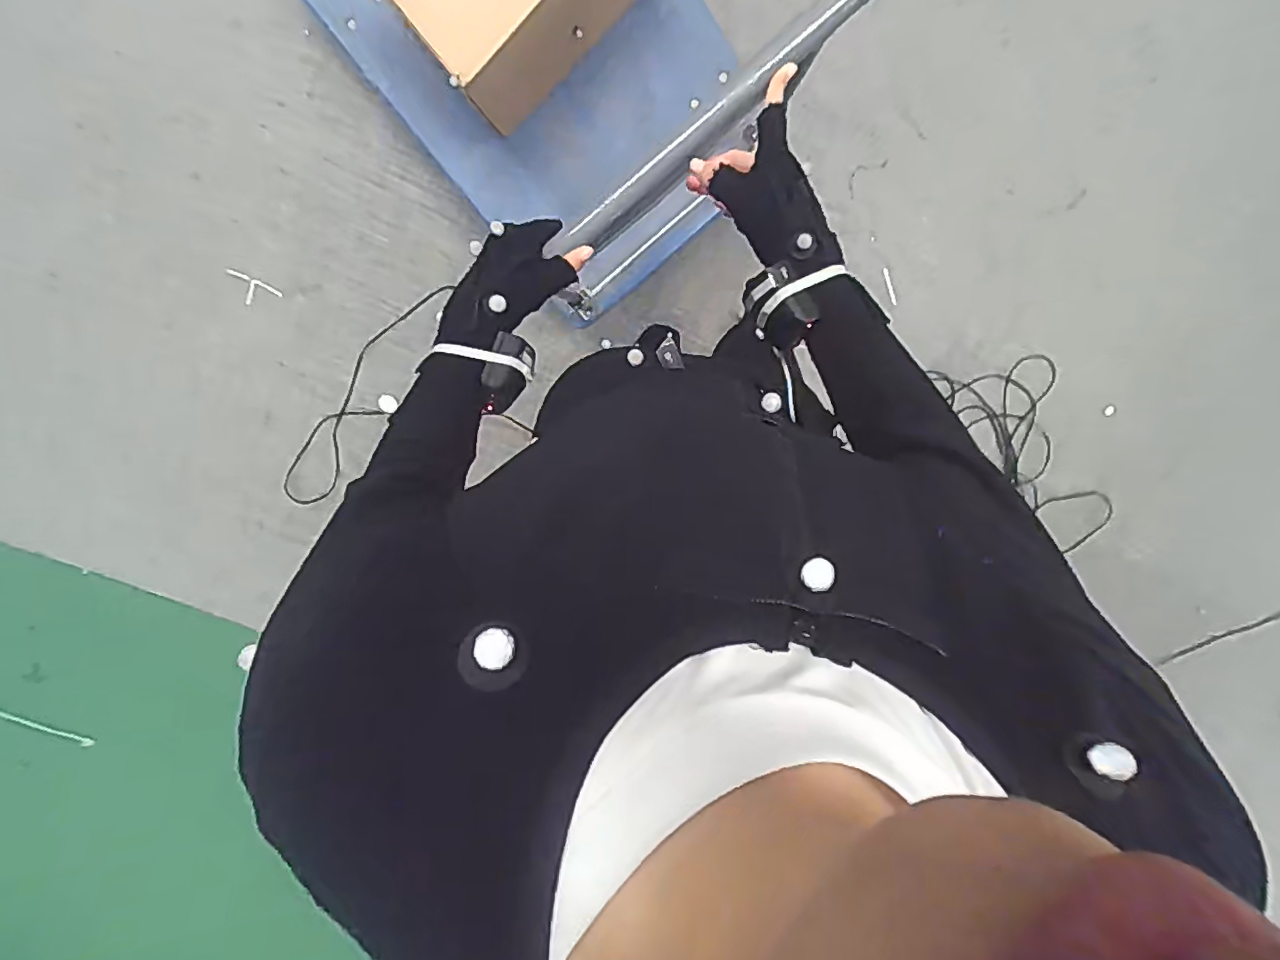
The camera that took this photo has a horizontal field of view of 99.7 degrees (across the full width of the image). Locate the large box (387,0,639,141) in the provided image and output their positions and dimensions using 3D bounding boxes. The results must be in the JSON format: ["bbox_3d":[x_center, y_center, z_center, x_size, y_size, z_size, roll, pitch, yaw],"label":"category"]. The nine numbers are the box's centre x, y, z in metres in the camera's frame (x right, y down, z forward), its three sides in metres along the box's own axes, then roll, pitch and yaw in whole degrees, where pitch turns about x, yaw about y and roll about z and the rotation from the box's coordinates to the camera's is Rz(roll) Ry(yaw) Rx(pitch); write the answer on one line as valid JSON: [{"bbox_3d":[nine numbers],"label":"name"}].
[{"bbox_3d":[-0.204,-0.851,0.860,0.408,0.320,0.320,-41,105,13],"label":"large box"}]
